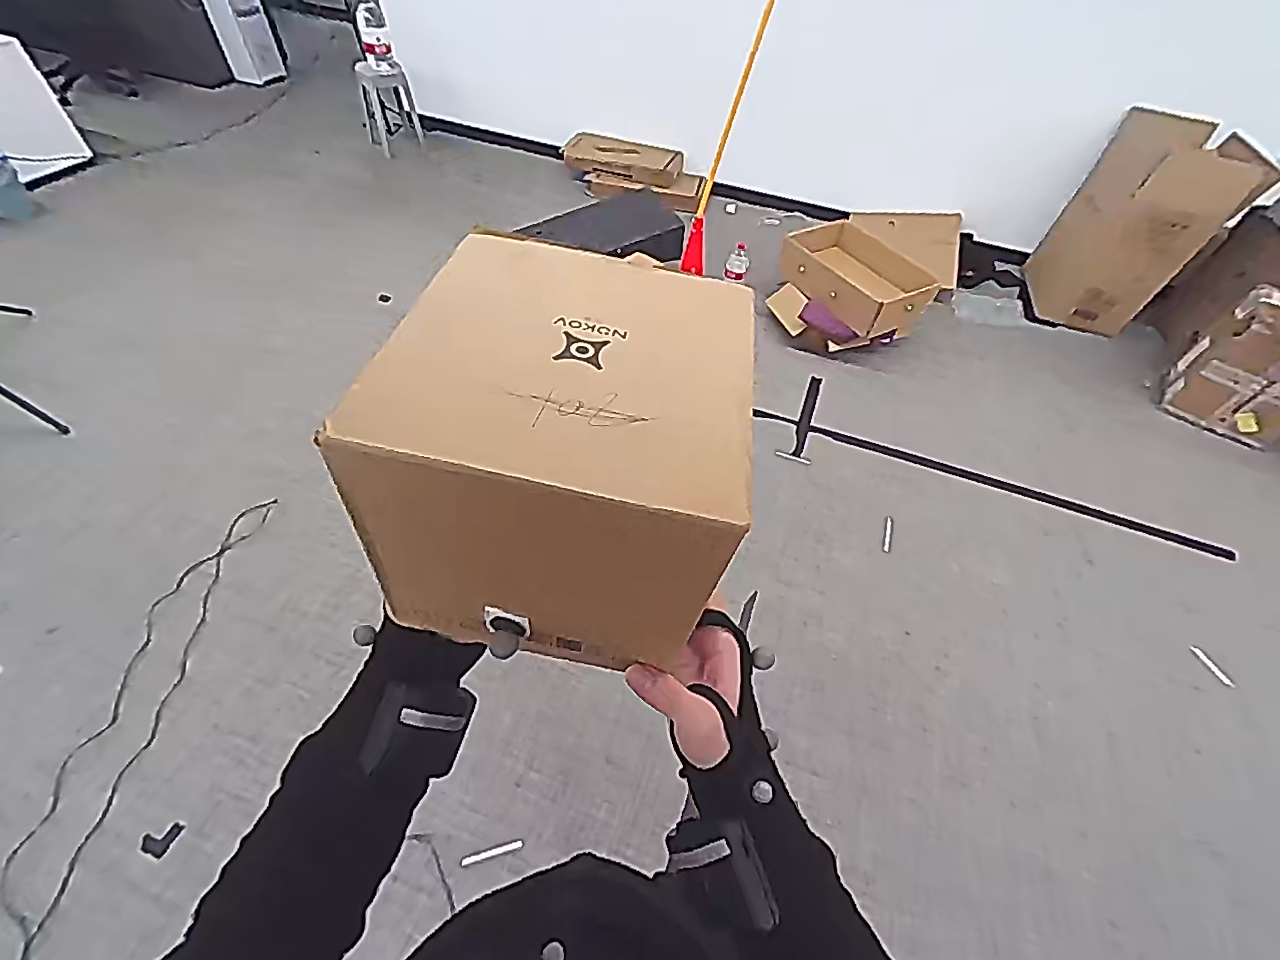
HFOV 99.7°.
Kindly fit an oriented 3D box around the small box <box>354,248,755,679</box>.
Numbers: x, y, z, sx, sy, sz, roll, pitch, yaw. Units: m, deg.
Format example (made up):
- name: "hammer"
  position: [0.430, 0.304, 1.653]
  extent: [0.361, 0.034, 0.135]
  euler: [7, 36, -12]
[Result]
- name: "small box"
  position: [-0.036, -0.005, 0.327]
  extent: [0.168, 0.176, 0.179]
  euler: [11, 50, -2]
